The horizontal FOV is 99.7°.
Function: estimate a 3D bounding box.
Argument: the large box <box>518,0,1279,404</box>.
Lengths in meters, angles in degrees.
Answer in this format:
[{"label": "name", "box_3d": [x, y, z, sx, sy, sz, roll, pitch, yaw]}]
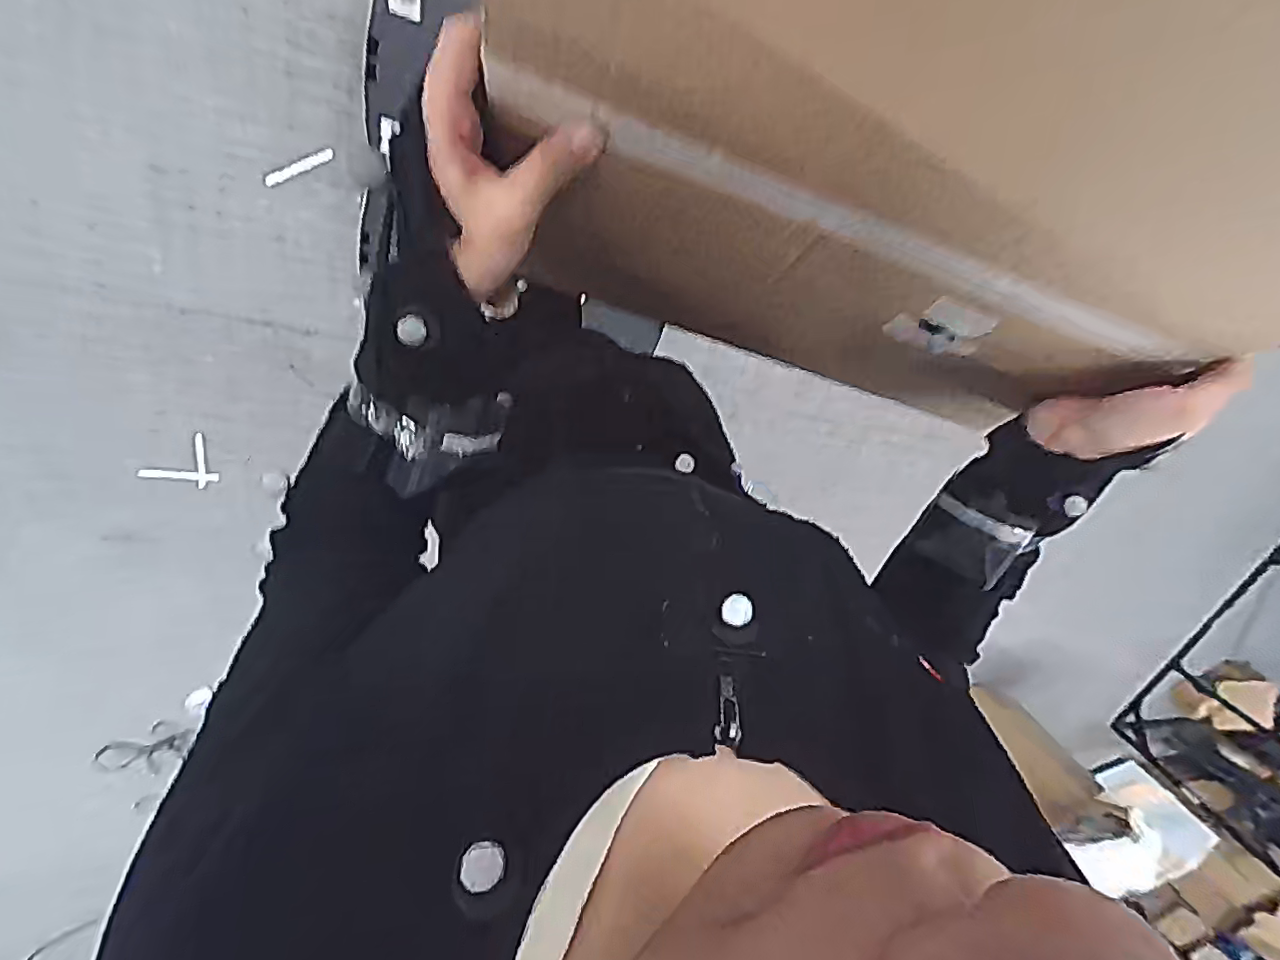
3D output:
[{"label": "large box", "box_3d": [0.173, -0.272, 0.267, 0.408, 0.320, 0.320, 14, 80, -12]}]

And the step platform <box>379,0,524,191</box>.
[{"label": "step platform", "box_3d": [-0.120, -0.670, 1.036, 0.684, 0.204, 0.286, 12, 115, -25]}]
